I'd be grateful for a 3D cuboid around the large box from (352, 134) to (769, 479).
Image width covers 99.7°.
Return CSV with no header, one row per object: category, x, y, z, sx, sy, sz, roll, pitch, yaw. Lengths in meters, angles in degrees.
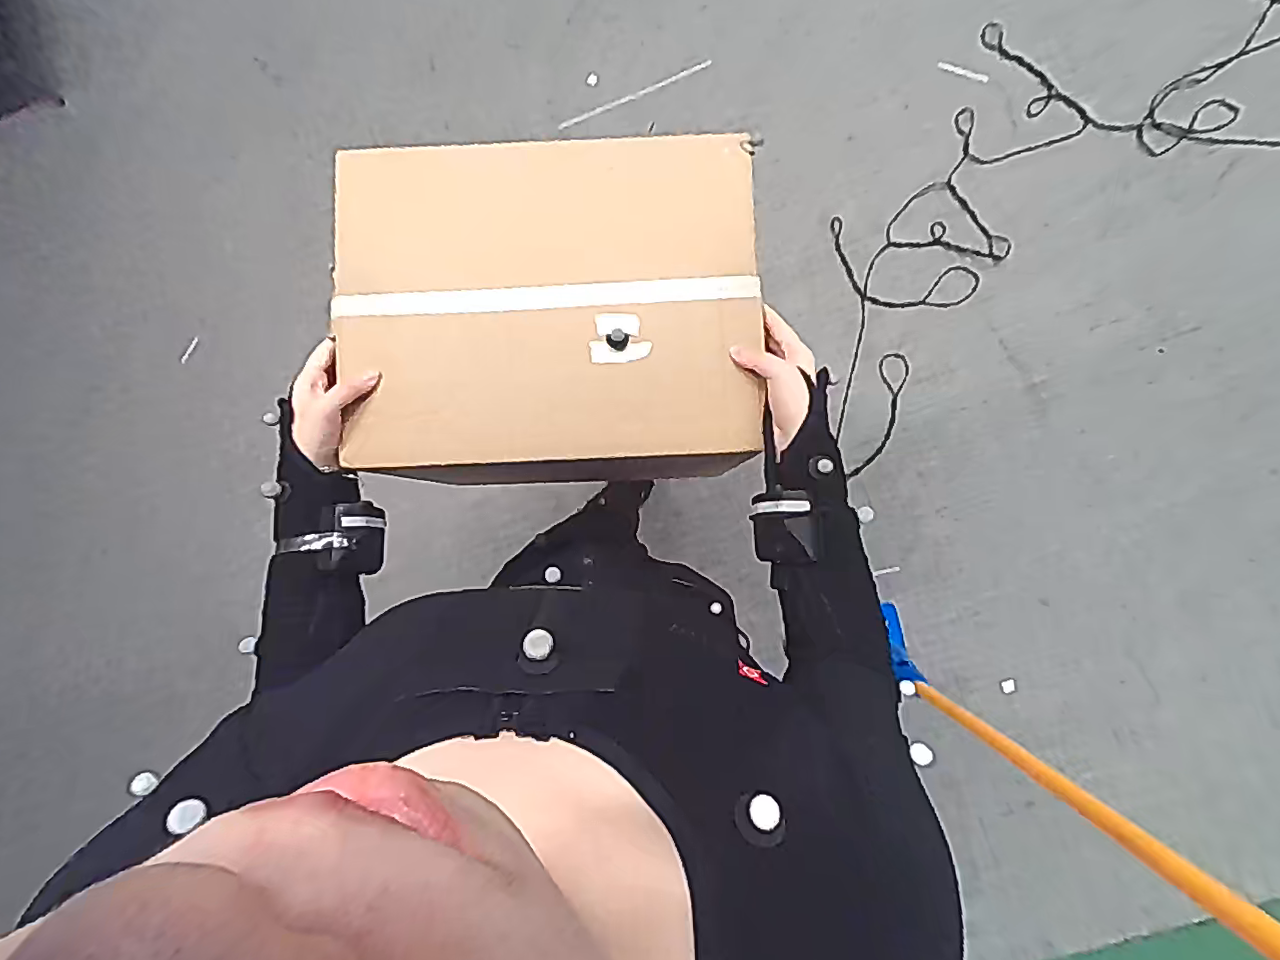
large box,-0.084,-0.174,0.675,0.408,0.320,0.320,-2,86,-1
